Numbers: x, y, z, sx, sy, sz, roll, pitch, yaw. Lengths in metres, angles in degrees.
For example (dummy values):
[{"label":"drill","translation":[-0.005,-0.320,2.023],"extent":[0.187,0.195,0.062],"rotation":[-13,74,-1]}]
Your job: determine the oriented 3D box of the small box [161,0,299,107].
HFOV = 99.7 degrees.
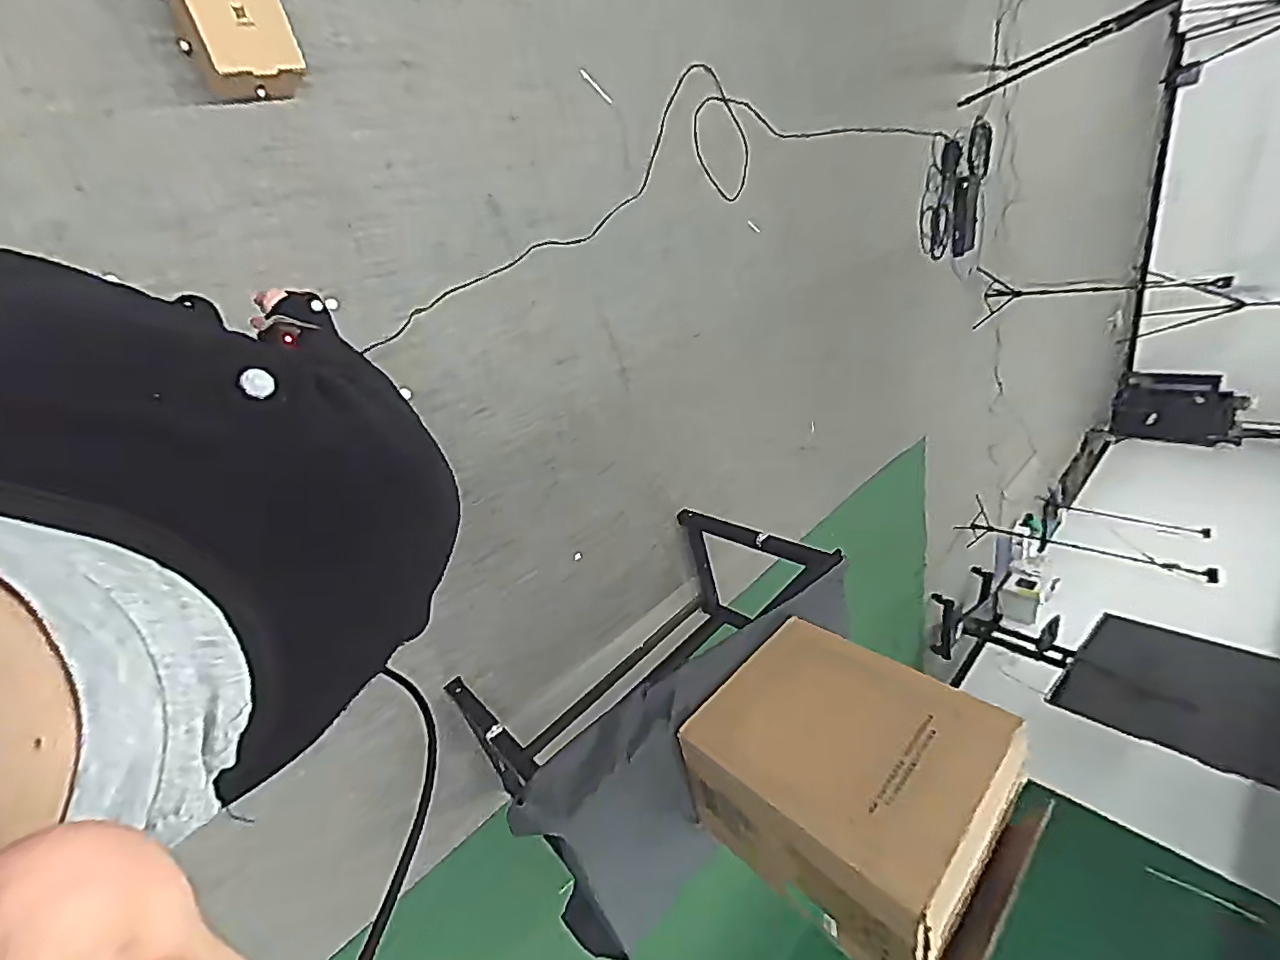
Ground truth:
[{"label":"small box","translation":[-0.833,-0.885,1.101],"extent":[0.168,0.176,0.179],"rotation":[-32,120,-32]}]
